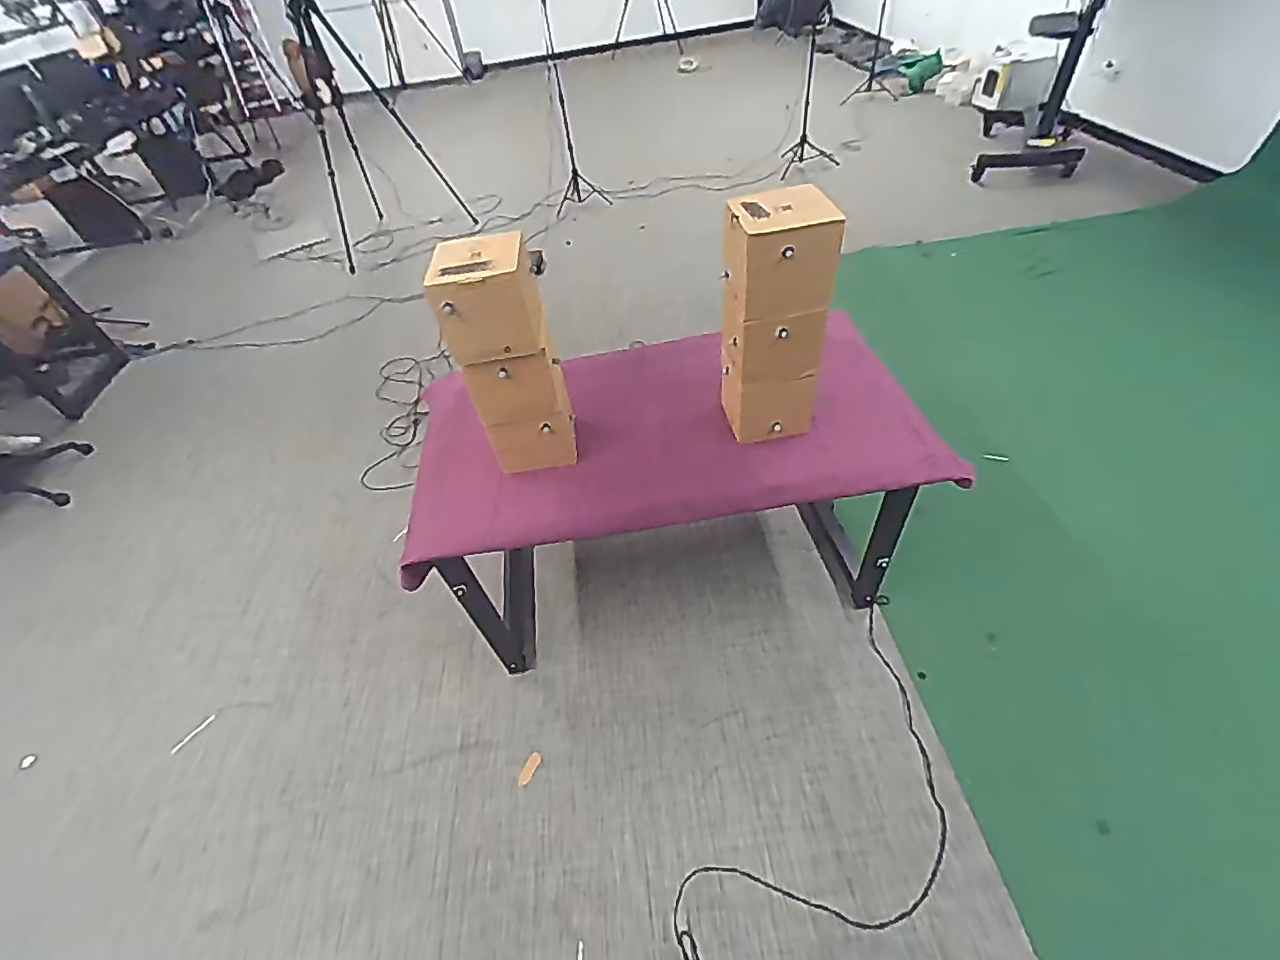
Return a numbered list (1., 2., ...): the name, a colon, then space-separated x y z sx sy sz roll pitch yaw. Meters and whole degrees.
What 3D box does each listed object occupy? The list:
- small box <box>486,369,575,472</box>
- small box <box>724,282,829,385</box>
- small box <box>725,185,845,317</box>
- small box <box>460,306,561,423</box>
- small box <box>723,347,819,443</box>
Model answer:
1. small box: -0.252 -0.141 1.288 0.179 0.176 0.168 -9 47 0
2. small box: 0.281 -0.321 1.152 0.179 0.176 0.168 -9 48 0
3. small box: 0.266 -0.432 1.032 0.179 0.176 0.168 -10 49 -1
4. small box: -0.268 -0.246 1.167 0.179 0.176 0.168 -10 48 0
5. small box: 0.299 -0.211 1.271 0.179 0.176 0.168 -10 47 -1
